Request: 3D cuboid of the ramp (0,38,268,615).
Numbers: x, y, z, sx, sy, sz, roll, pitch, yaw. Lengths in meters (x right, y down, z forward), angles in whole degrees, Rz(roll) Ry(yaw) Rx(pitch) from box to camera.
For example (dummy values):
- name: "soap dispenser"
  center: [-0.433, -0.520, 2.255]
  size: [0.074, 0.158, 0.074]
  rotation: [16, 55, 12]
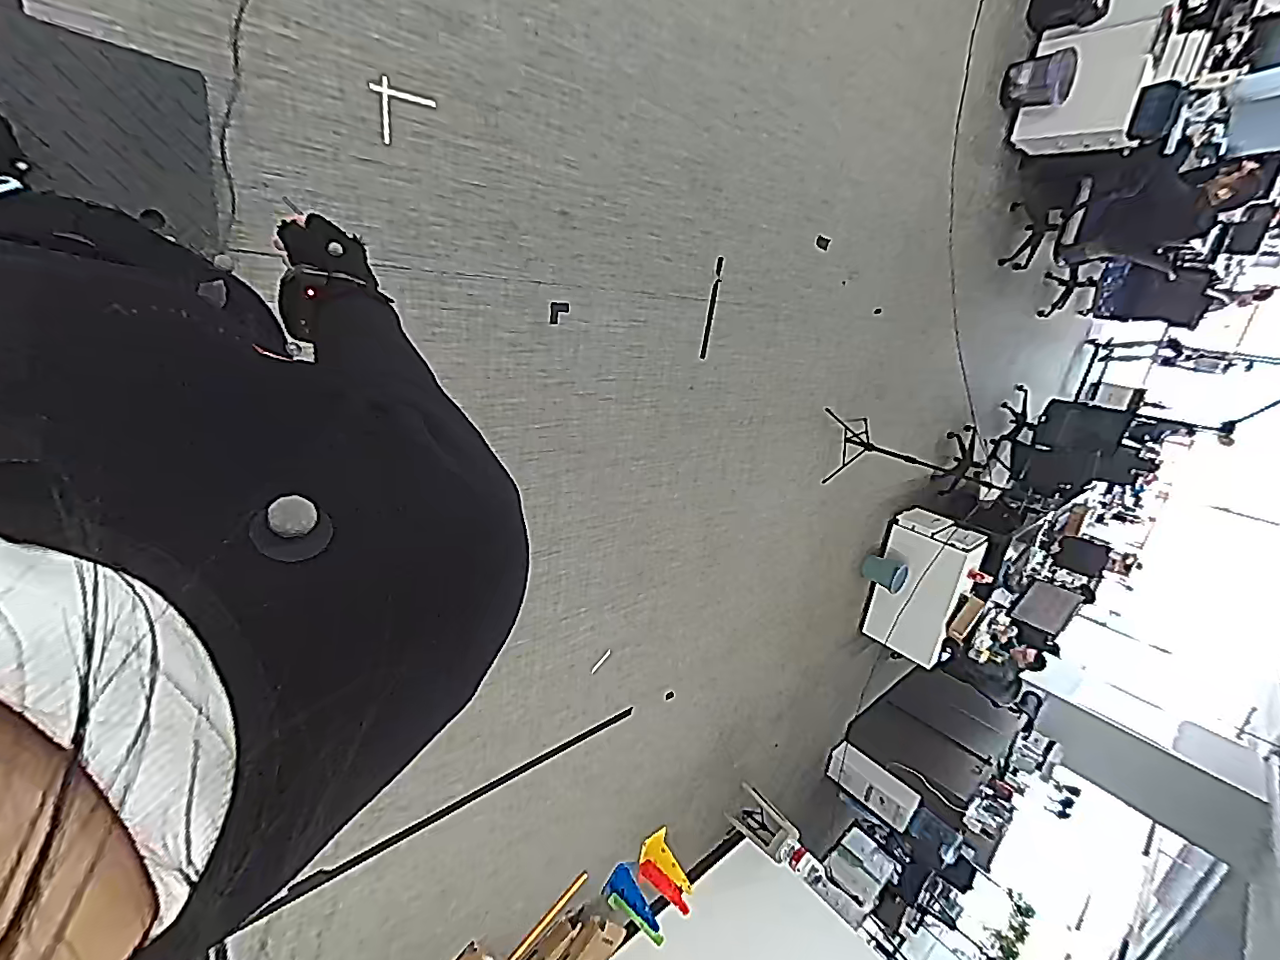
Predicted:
- name: "ramp"
  center: [-1.055, -0.262, 1.021]
  size: [0.509, 0.206, 0.991]
  rotation: [-10, 114, -39]
